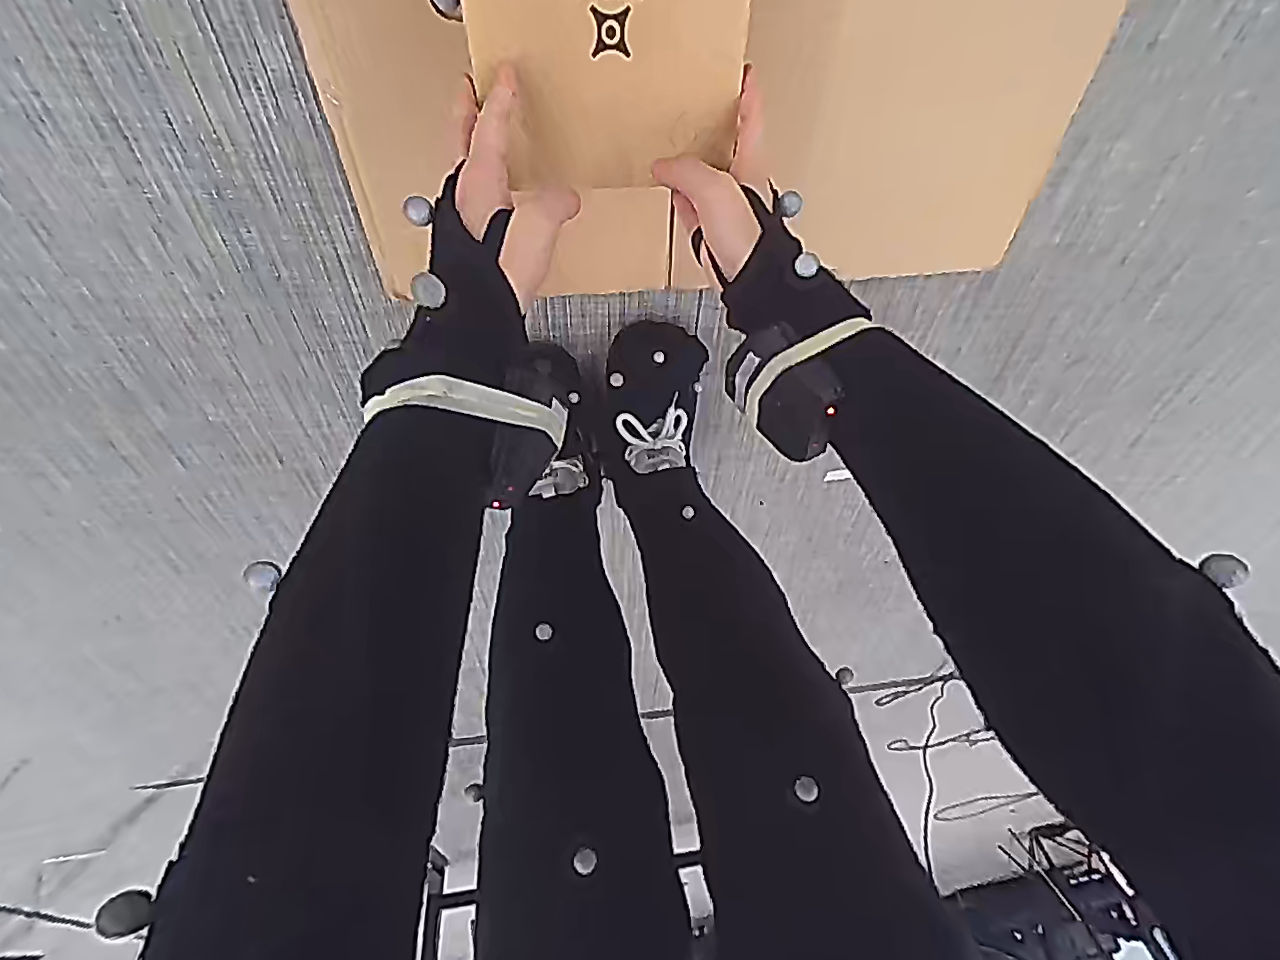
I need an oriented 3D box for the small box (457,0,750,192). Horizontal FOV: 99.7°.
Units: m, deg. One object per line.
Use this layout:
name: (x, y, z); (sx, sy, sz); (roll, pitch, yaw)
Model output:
small box: (-0.030, -0.314, 0.360); (0.168, 0.176, 0.179); (-6, 134, -7)
